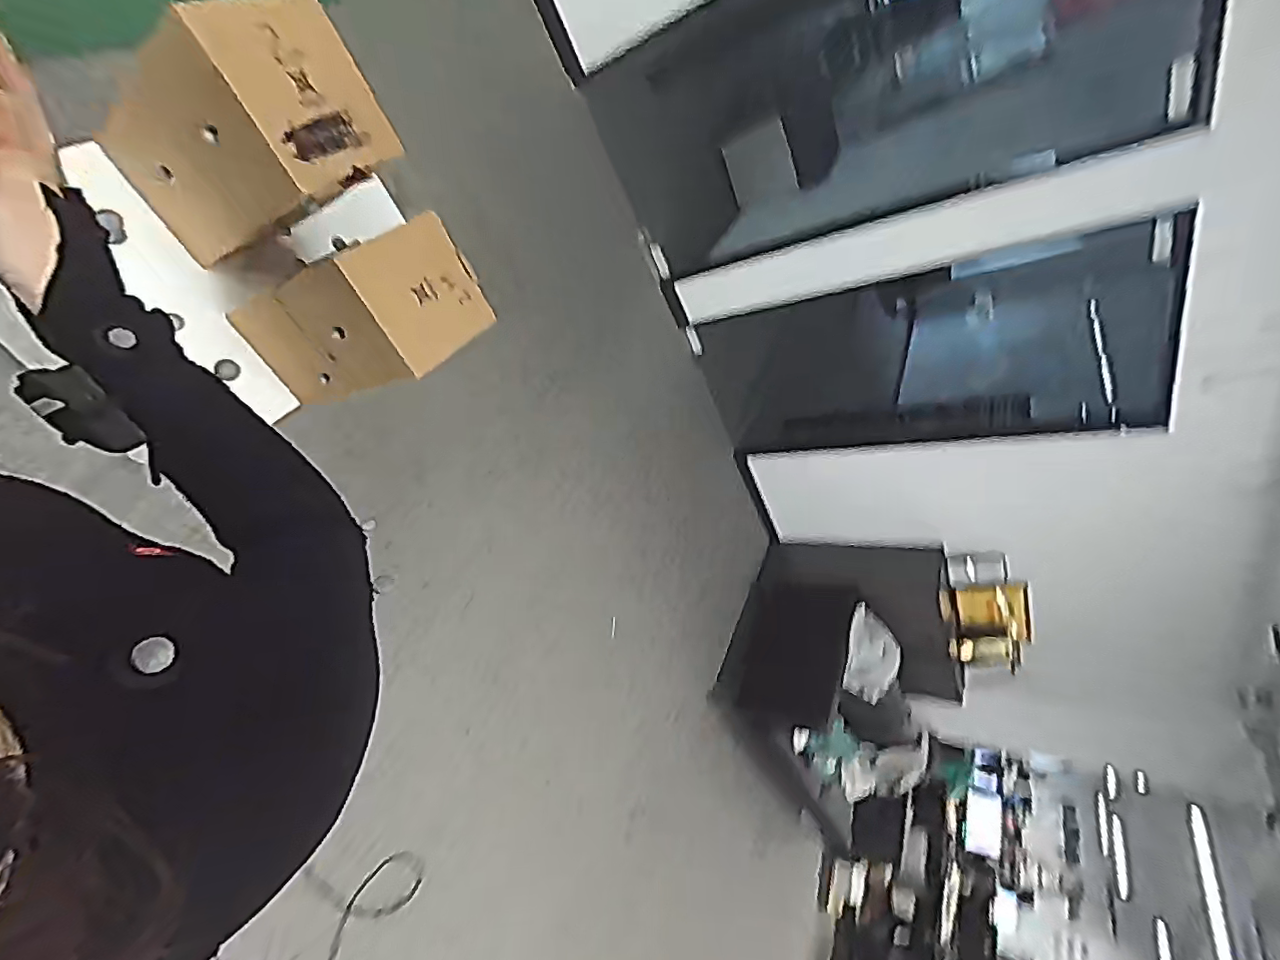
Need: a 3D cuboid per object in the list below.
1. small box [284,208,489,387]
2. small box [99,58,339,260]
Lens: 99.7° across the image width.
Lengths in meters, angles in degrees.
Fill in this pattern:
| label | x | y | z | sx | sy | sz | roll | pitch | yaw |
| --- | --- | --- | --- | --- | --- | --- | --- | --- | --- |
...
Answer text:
| label | x | y | z | sx | sy | sz | roll | pitch | yaw |
| --- | --- | --- | --- | --- | --- | --- | --- | --- | --- |
| small box | -0.357 | -0.248 | 0.758 | 0.179 | 0.176 | 0.168 | -56 | 131 | -40 |
| small box | -0.574 | -0.433 | 0.744 | 0.168 | 0.176 | 0.179 | -57 | 134 | -38 |
